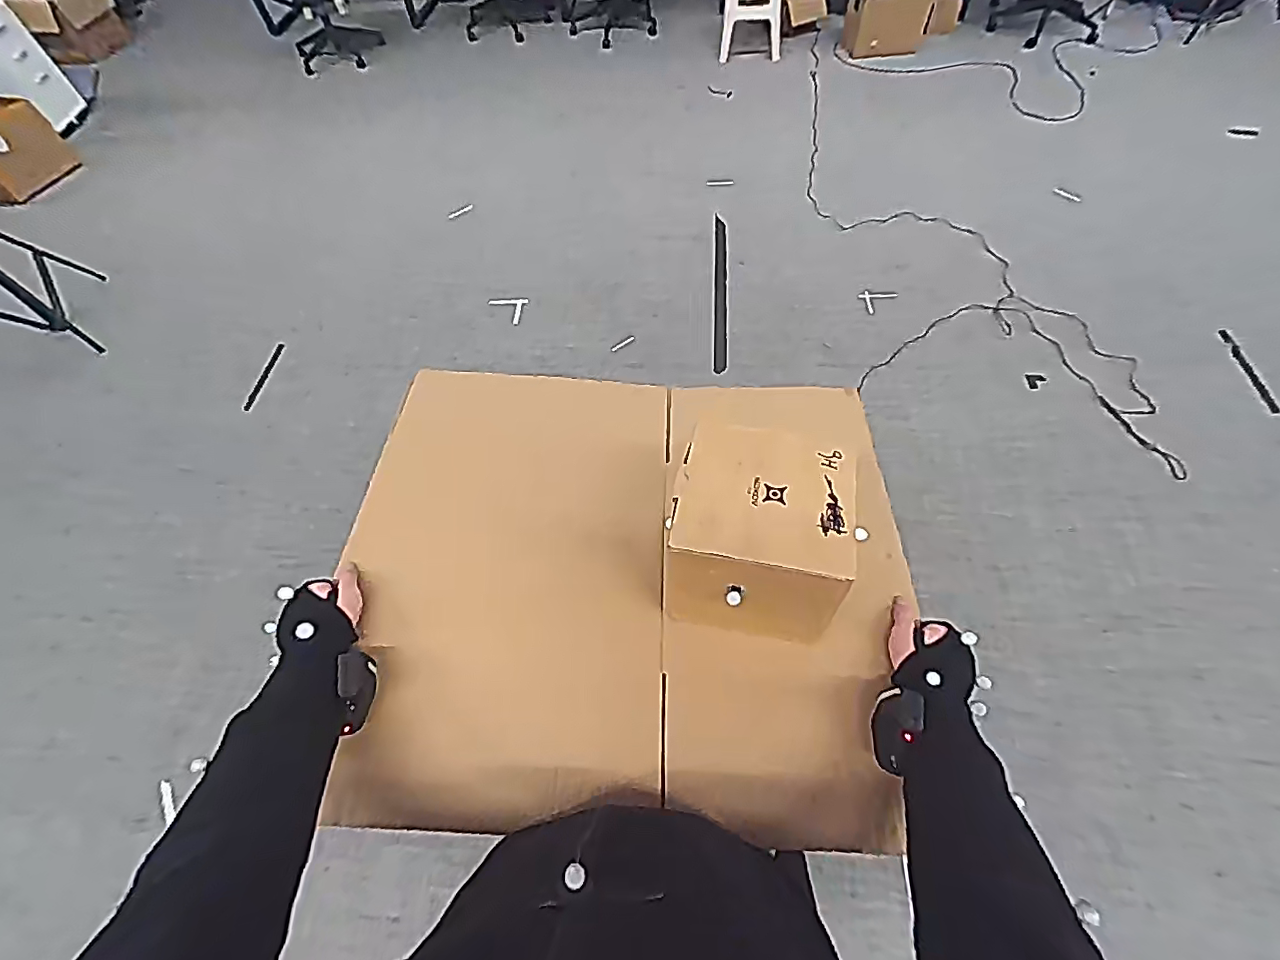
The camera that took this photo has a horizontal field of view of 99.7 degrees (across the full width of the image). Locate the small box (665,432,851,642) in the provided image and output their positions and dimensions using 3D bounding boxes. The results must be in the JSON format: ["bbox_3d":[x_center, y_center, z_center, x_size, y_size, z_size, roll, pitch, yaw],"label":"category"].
[{"bbox_3d":[0.132,0.068,0.617,0.179,0.176,0.168,8,55,11],"label":"small box"}]
